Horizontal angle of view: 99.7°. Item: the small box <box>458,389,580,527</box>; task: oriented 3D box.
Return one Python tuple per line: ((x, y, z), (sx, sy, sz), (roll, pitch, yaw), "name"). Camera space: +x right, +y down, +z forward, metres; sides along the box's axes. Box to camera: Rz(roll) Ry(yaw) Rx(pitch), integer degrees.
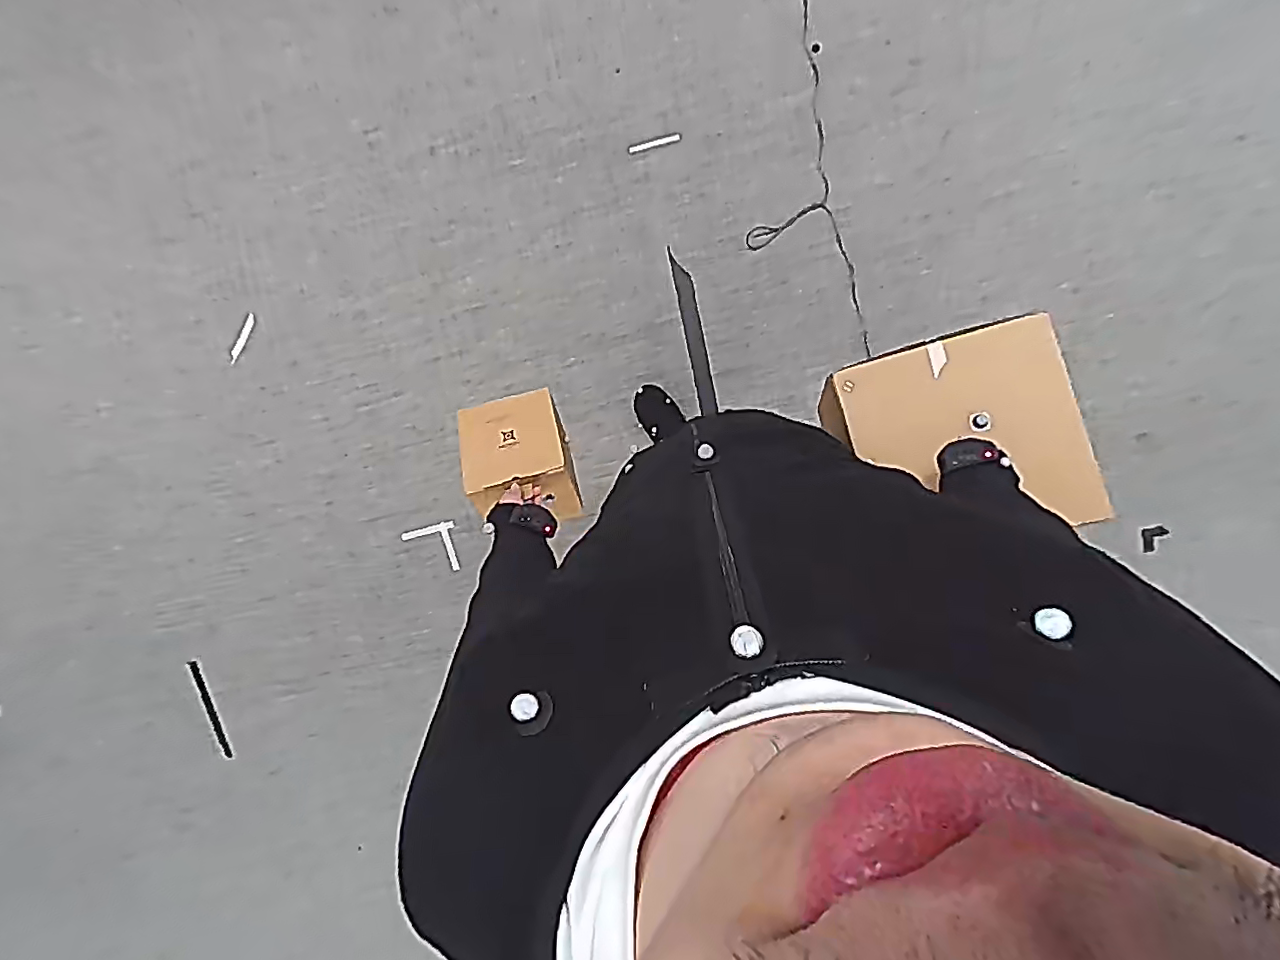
((-0.214, -0.030, 0.980), (0.168, 0.176, 0.179), (-15, 58, -4), "small box")
